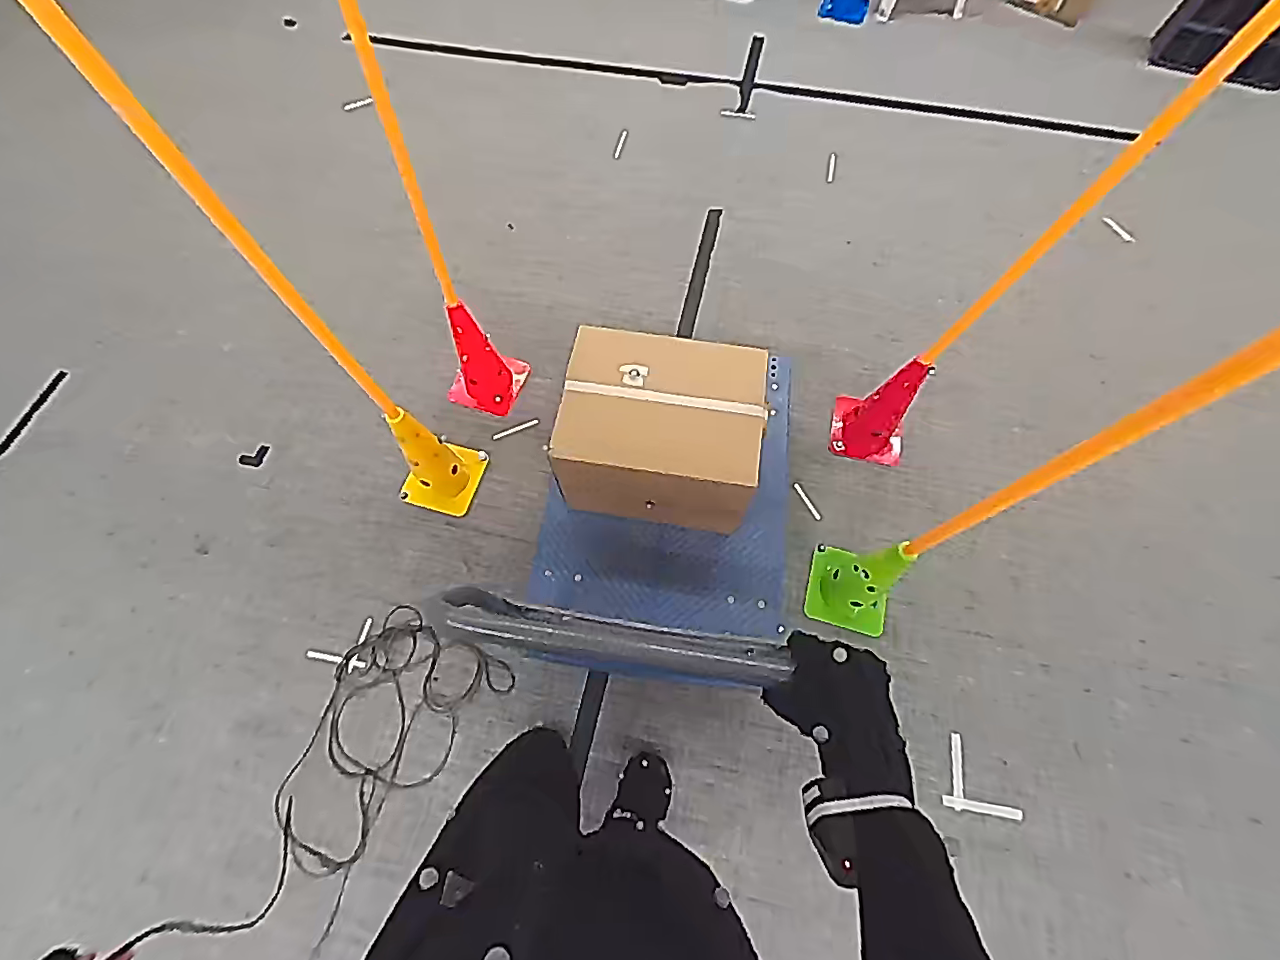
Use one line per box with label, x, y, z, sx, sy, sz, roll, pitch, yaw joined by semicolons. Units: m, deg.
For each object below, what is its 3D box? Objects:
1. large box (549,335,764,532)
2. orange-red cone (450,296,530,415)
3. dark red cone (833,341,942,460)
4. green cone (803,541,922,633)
large box;0.046;-0.090;1.223;0.408;0.320;0.320;9;68;4
orange-red cone;-0.455;-0.372;1.499;0.198;0.360;0.199;19;67;7
dark red cone;0.667;-0.225;1.415;0.201;0.394;0.202;13;68;3
green cone;0.538;0.212;1.248;0.202;0.368;0.200;16;68;5
